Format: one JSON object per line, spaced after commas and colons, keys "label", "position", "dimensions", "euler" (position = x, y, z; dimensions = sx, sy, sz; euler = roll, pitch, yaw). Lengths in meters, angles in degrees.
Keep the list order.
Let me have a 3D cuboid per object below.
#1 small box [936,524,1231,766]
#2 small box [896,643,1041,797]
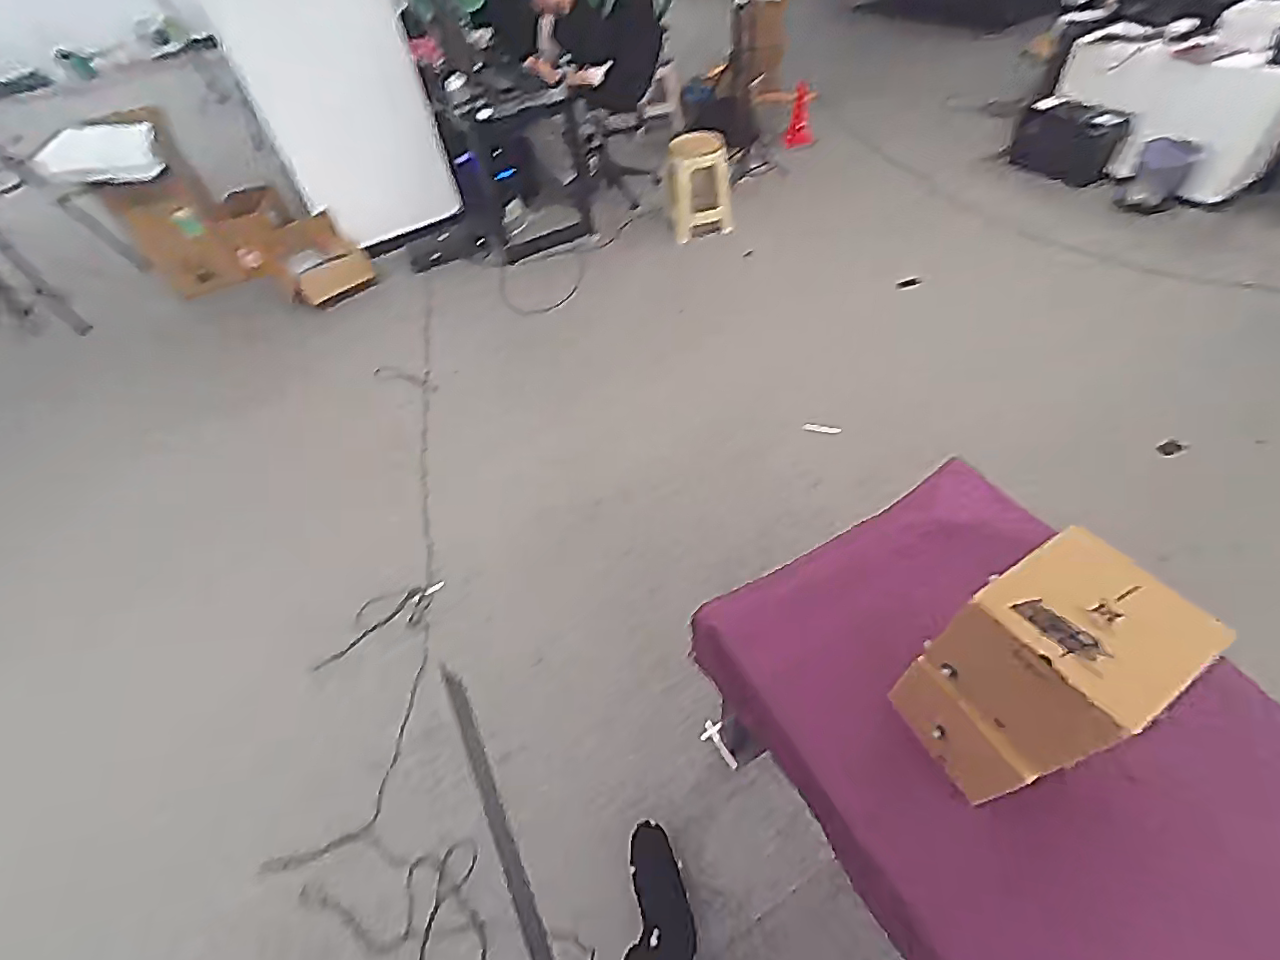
{"label": "small box", "position": [0.470, 0.189, 0.611], "dimensions": [0.179, 0.176, 0.168], "euler": [-27, 54, -15]}
{"label": "small box", "position": [0.477, 0.299, 0.734], "dimensions": [0.179, 0.176, 0.168], "euler": [-24, 53, -12]}
